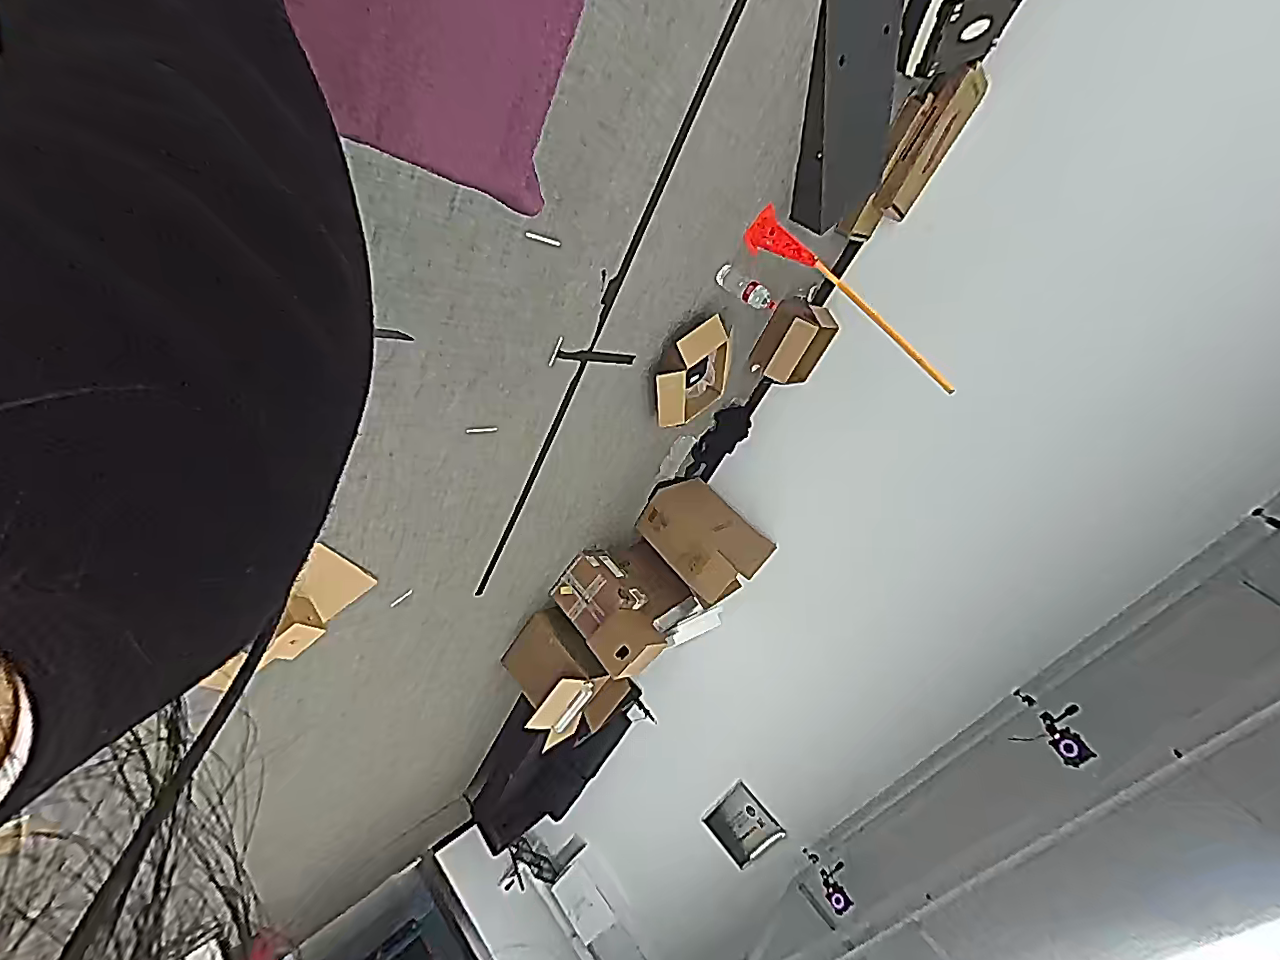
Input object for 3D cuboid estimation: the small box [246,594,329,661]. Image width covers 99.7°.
[{"bbox_3d":[-1.336,0.557,2.049,0.168,0.176,0.179,-41,154,-10],"label":"small box"}]
